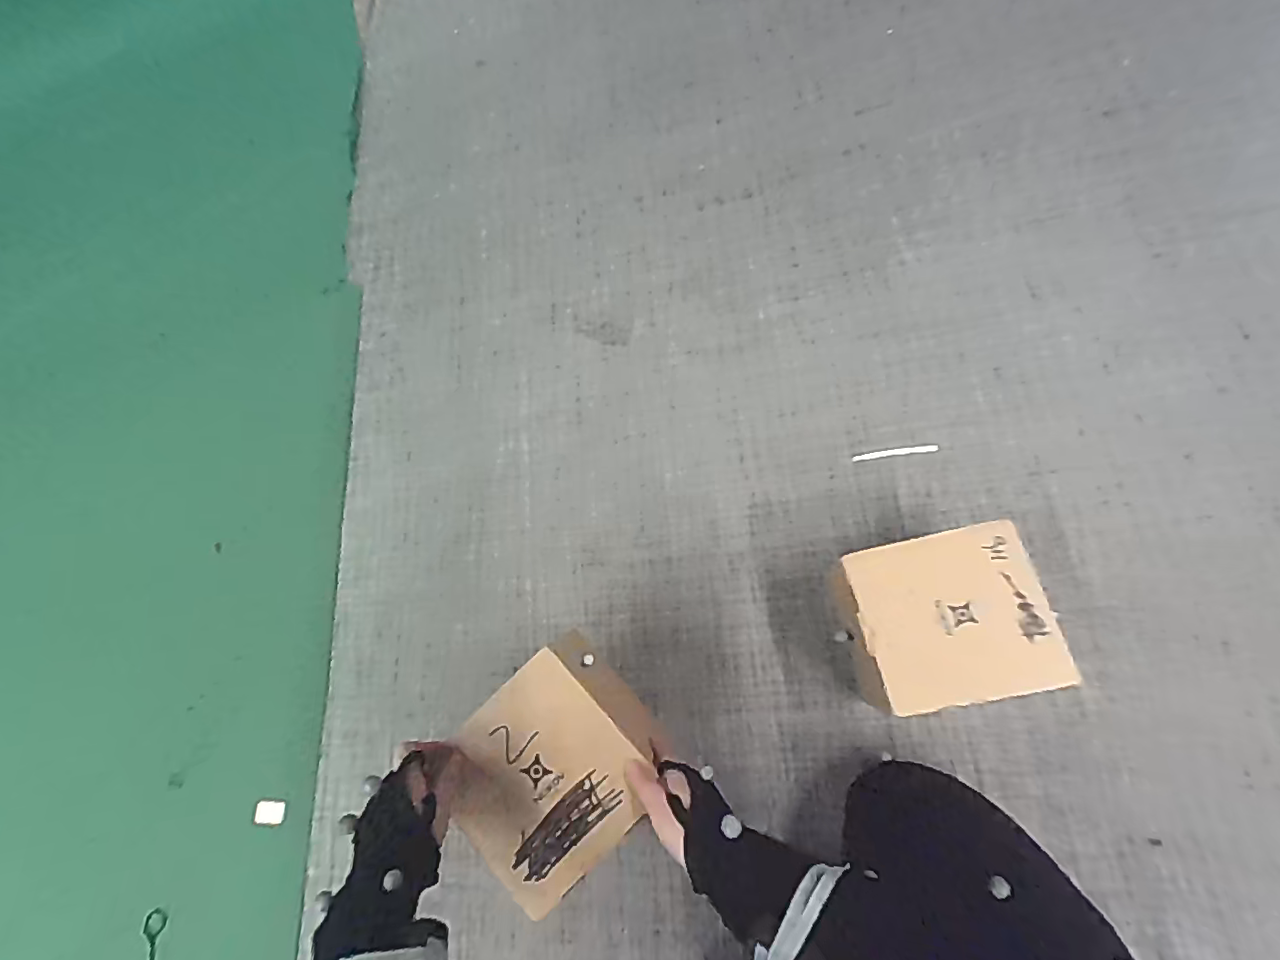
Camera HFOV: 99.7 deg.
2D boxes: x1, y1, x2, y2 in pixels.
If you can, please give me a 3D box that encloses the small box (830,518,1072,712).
[{"bbox_3d":[0.327,0.158,0.619,0.179,0.176,0.168,-15,71,9],"label":"small box"}]
